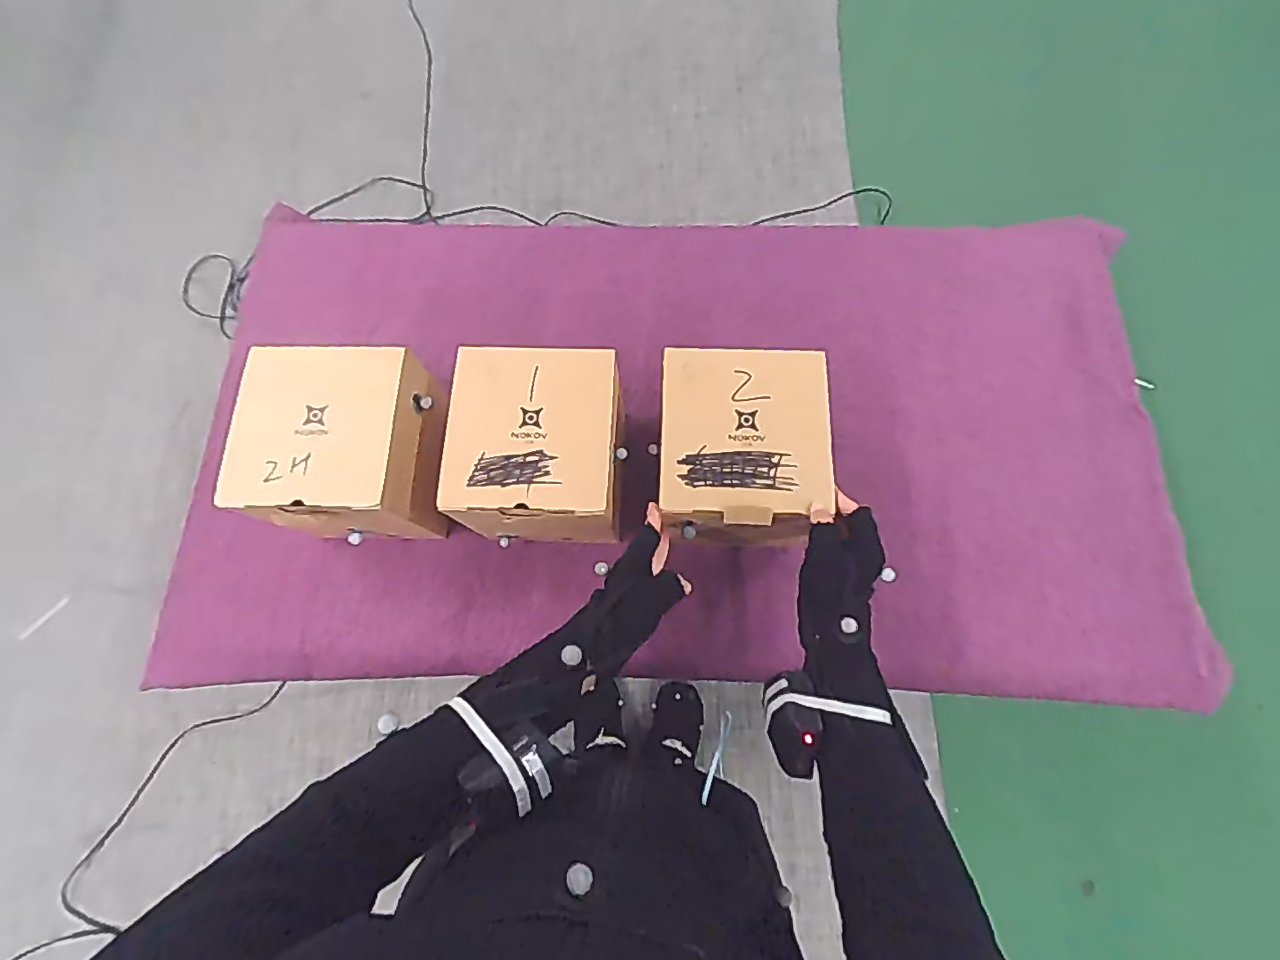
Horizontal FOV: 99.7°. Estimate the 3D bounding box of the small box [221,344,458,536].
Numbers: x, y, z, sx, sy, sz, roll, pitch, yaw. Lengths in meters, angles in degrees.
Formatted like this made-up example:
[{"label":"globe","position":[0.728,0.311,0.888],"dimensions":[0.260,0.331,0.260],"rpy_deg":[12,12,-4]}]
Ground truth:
[{"label":"small box","position":[-0.323,-0.038,0.624],"dimensions":[0.168,0.176,0.179],"rpy_deg":[0,75,2]}]
